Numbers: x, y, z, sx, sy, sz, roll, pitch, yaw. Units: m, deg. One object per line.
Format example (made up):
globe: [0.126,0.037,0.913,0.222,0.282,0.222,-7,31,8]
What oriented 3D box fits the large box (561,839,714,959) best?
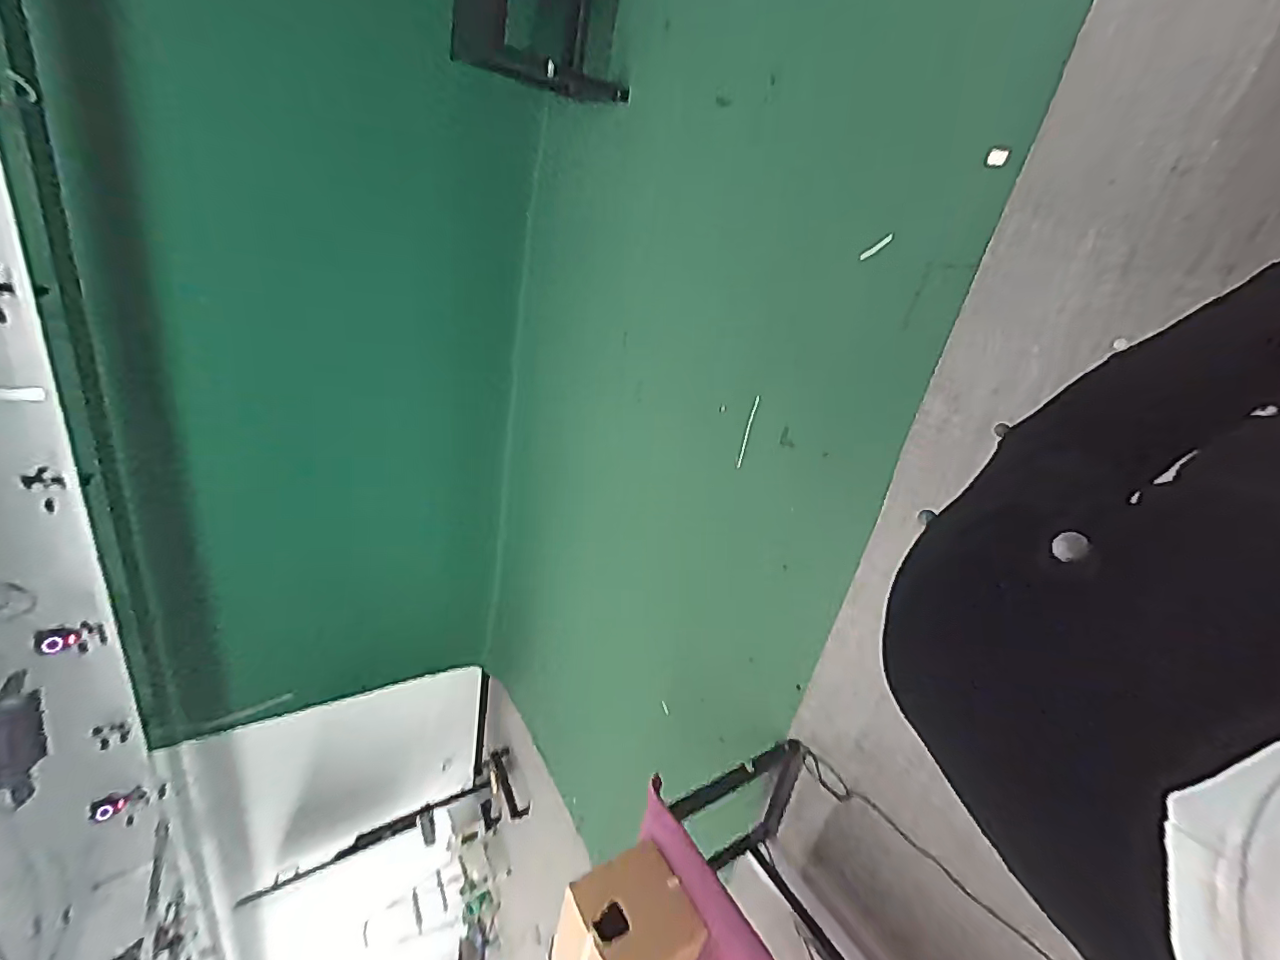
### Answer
large box: [-0.018,1.426,1.657,0.320,0.320,0.408,37,124,45]
